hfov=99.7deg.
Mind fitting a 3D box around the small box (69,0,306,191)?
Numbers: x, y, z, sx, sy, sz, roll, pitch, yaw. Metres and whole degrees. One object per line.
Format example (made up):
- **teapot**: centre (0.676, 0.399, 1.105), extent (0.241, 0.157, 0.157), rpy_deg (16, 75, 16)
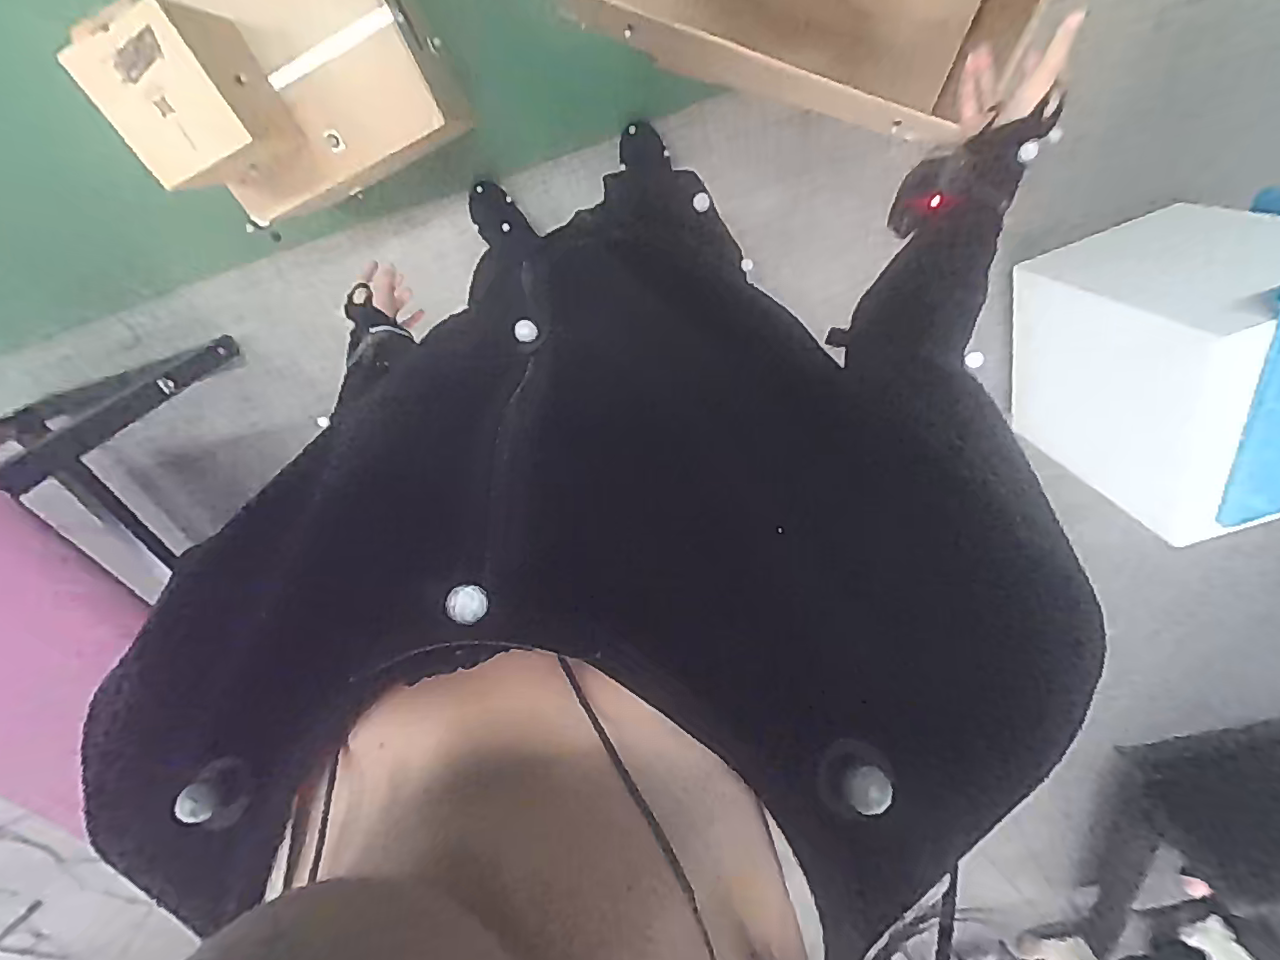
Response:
- **small box**: centre (-0.660, -0.565, 0.816), extent (0.168, 0.176, 0.179), rpy_deg (-21, 122, 10)
